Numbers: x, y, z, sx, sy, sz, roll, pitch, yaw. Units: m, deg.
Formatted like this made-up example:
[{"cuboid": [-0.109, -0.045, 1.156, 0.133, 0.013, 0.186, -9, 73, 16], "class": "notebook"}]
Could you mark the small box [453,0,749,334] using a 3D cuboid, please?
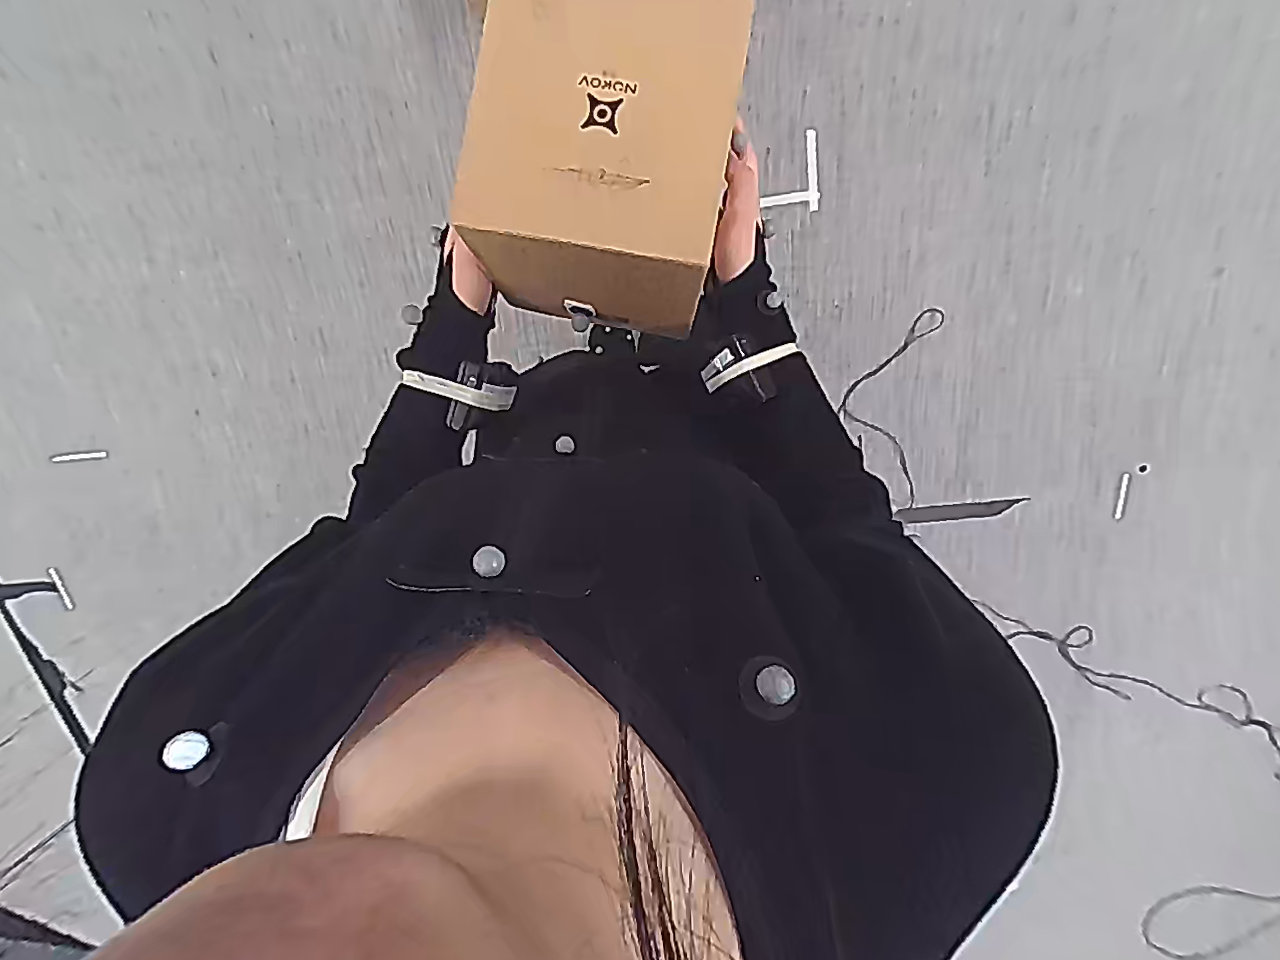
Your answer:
[{"cuboid": [-0.024, -0.232, 0.420, 0.168, 0.176, 0.179, 9, 90, 1], "class": "small box"}]
